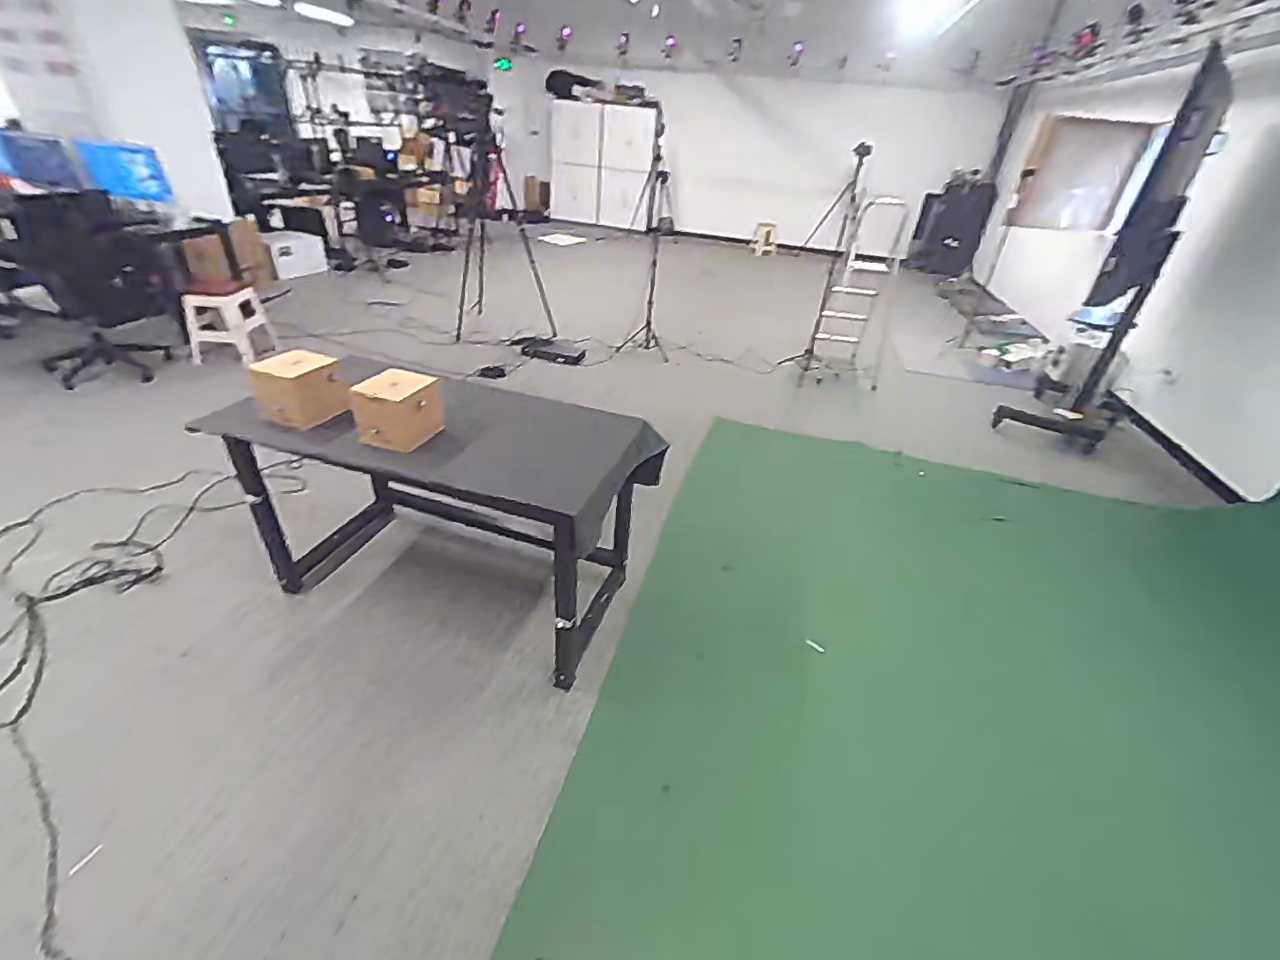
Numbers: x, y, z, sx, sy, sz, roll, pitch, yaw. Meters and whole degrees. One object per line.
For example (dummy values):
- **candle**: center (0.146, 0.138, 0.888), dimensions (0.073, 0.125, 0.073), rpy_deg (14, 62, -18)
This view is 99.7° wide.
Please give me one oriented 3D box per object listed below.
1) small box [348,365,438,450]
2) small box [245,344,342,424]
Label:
- **small box**: center (-0.706, -0.212, 1.567), dimensions (0.168, 0.176, 0.179), rpy_deg (15, 34, 12)
- **small box**: center (-1.025, -0.289, 1.618), dimensions (0.168, 0.176, 0.179), rpy_deg (15, 33, 13)
